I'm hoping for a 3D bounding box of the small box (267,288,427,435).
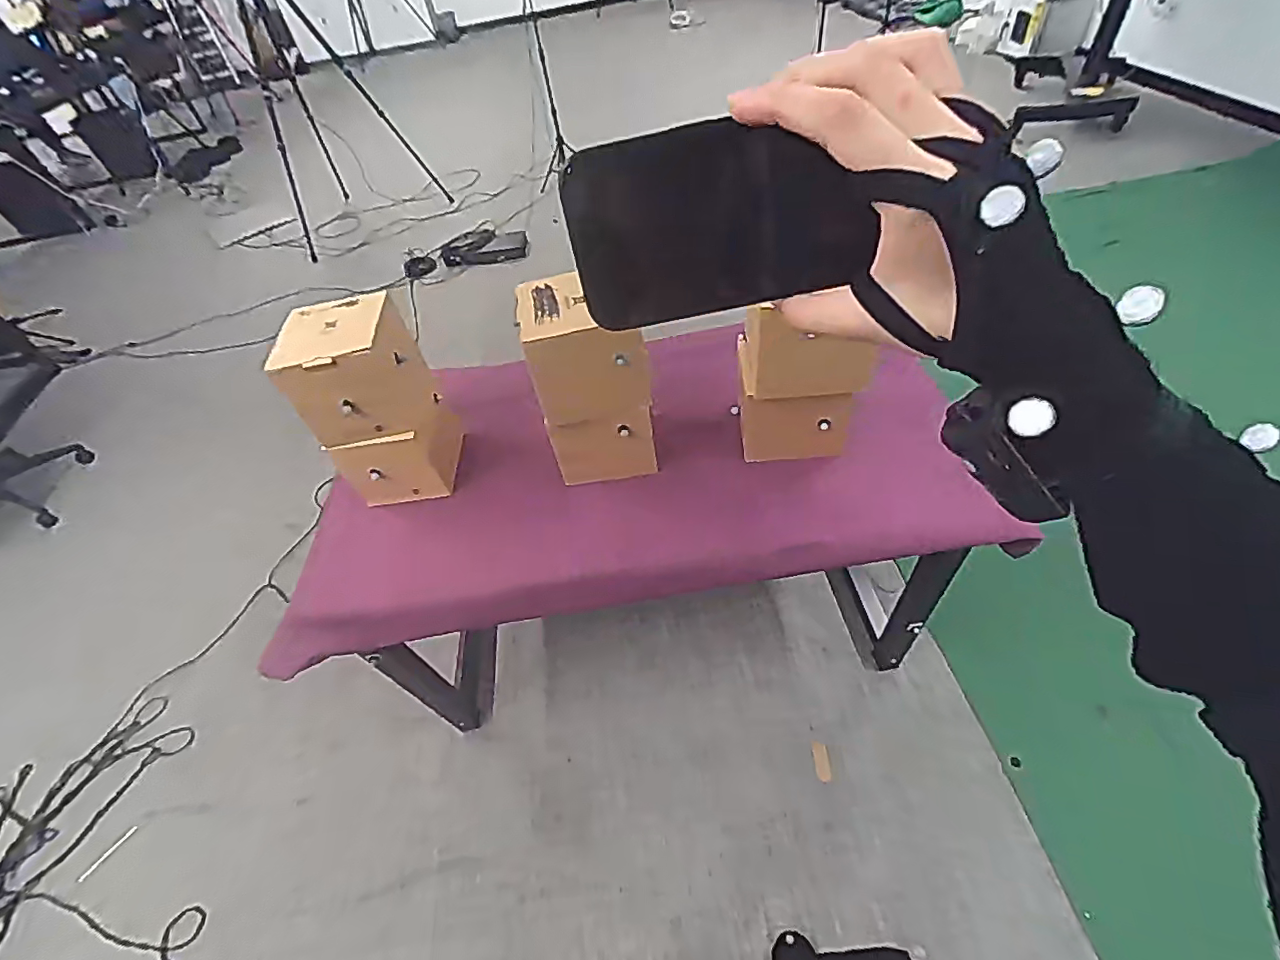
[{"bbox_3d":[-0.479,-0.193,0.917,0.168,0.176,0.179,-10,50,-1],"label":"small box"}]

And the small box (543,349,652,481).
[{"bbox_3d":[-0.071,-0.117,1.004,0.179,0.176,0.168,-7,49,3],"label":"small box"}]

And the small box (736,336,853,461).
[{"bbox_3d":[0.268,-0.148,0.980,0.179,0.176,0.168,-3,50,7],"label":"small box"}]

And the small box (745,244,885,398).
[{"bbox_3d":[0.258,-0.242,0.845,0.179,0.176,0.168,-3,50,6],"label":"small box"}]

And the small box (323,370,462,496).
[{"bbox_3d":[-0.459,-0.082,1.037,0.168,0.176,0.179,-7,50,3],"label":"small box"}]
